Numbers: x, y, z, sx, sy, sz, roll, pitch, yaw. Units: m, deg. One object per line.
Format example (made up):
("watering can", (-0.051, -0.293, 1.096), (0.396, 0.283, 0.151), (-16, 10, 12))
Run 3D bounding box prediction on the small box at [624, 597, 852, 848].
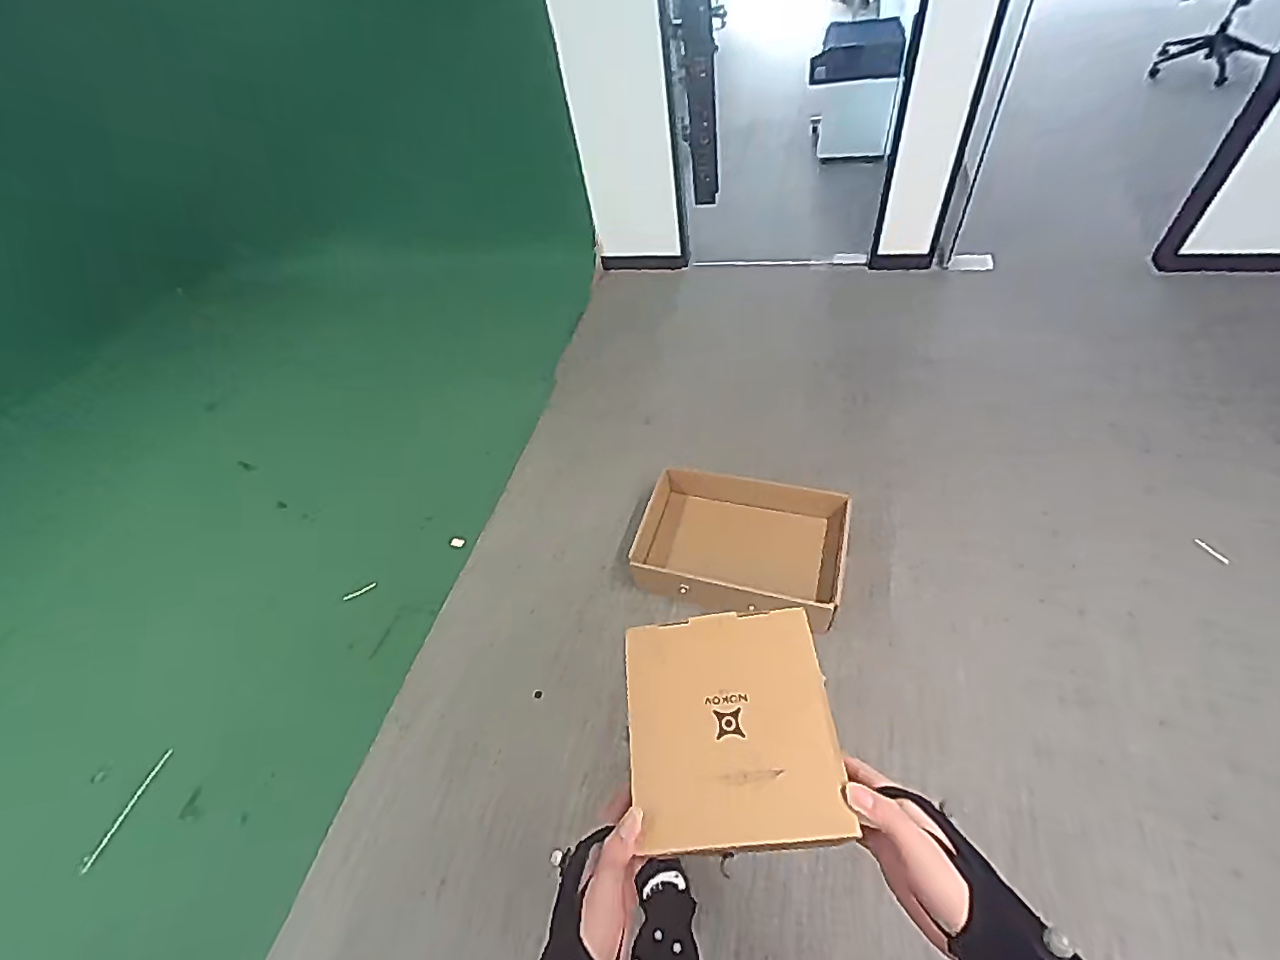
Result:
("small box", (0.079, 0.230, 0.503), (0.168, 0.176, 0.179), (-8, 53, 6))
